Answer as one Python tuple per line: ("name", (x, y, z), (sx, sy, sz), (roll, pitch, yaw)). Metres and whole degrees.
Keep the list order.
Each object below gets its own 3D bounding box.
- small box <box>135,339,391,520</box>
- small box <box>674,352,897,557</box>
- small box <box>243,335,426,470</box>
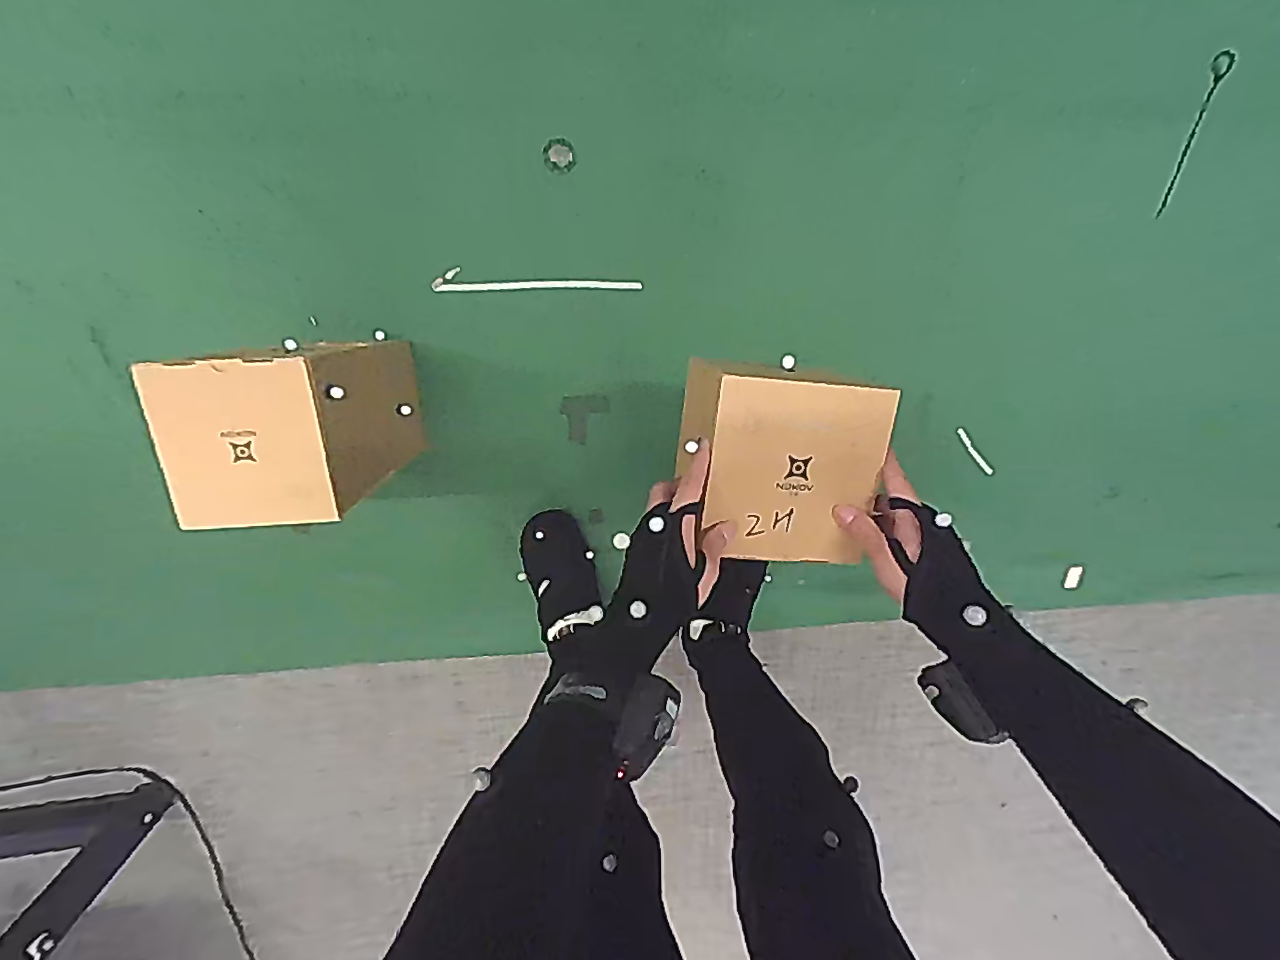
("small box", (-0.410, -0.067, 0.627), (0.168, 0.176, 0.179), (-3, 107, -3))
("small box", (0.135, -0.037, 0.575), (0.168, 0.176, 0.179), (5, 109, -6))
("small box", (-0.425, -0.117, 0.780), (0.168, 0.176, 0.179), (-3, 109, -4))
